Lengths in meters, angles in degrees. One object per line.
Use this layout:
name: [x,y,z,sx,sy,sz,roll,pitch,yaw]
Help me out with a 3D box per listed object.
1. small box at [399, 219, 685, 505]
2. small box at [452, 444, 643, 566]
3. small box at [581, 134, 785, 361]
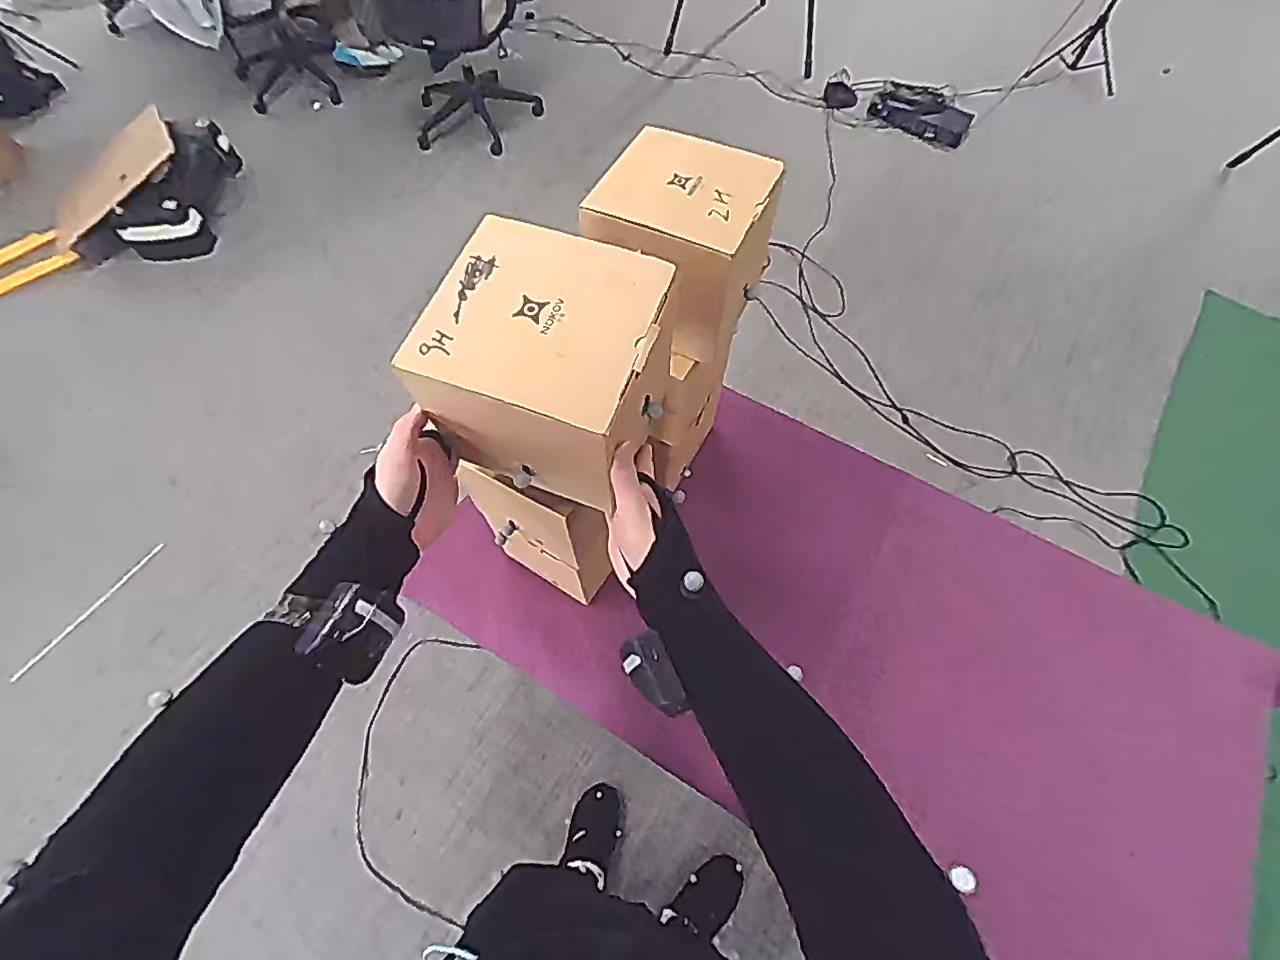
small box: [-0.073,-0.093,0.494,0.179,0.176,0.168,19,68,7]
small box: [-0.106,-0.018,0.703,0.168,0.176,0.179,27,65,14]
small box: [0.049,-0.273,0.655,0.179,0.176,0.168,24,65,12]
